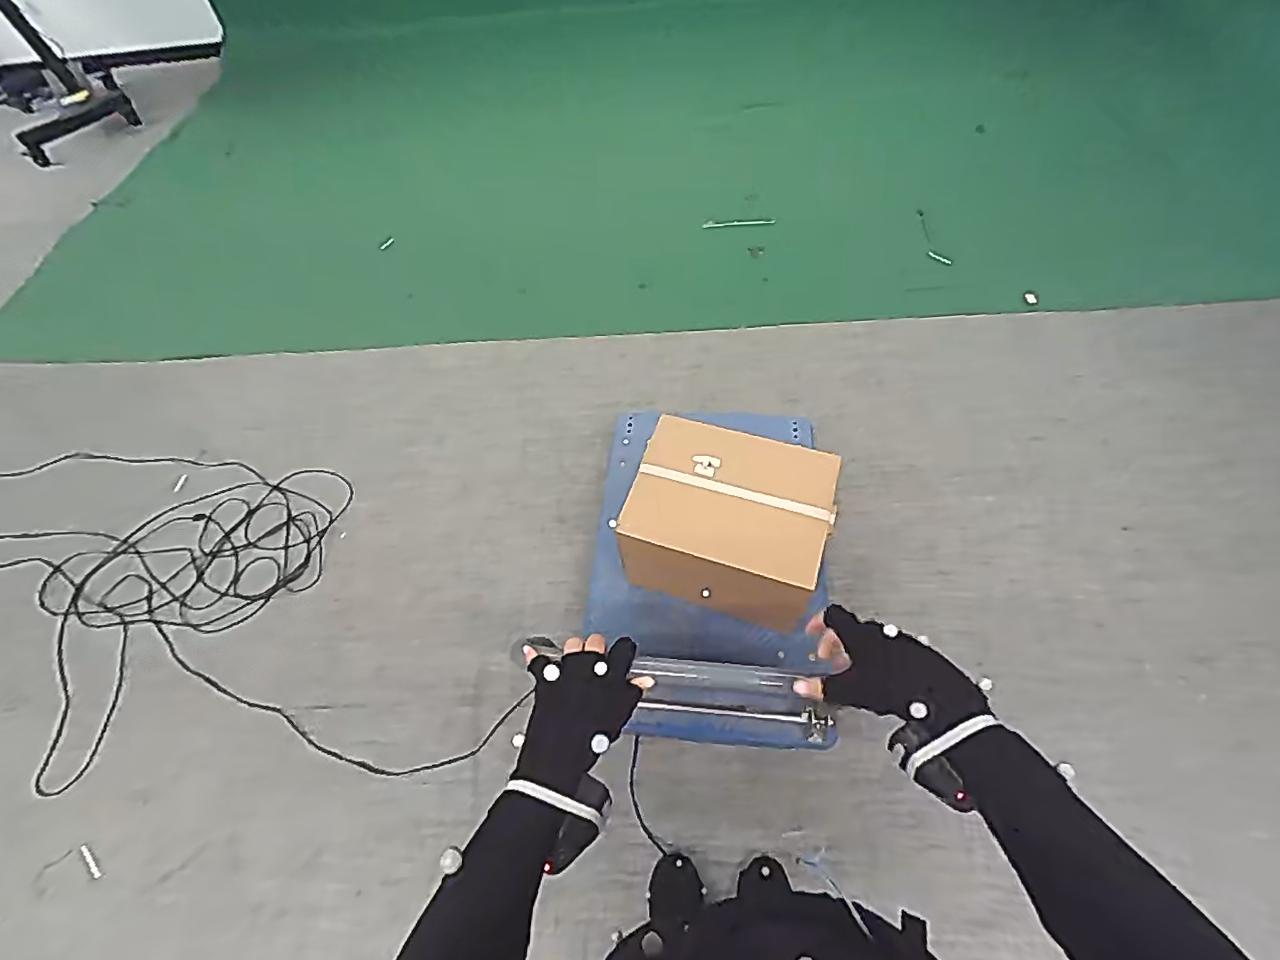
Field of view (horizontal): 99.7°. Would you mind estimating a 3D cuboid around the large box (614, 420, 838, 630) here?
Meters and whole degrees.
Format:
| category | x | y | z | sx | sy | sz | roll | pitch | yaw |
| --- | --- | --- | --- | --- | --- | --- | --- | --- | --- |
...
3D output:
| category | x | y | z | sx | sy | sz | roll | pitch | yaw |
| --- | --- | --- | --- | --- | --- | --- | --- | --- | --- |
| large box | 0.198 | 0.110 | 1.244 | 0.408 | 0.320 | 0.320 | 16 | 62 | 15 |
